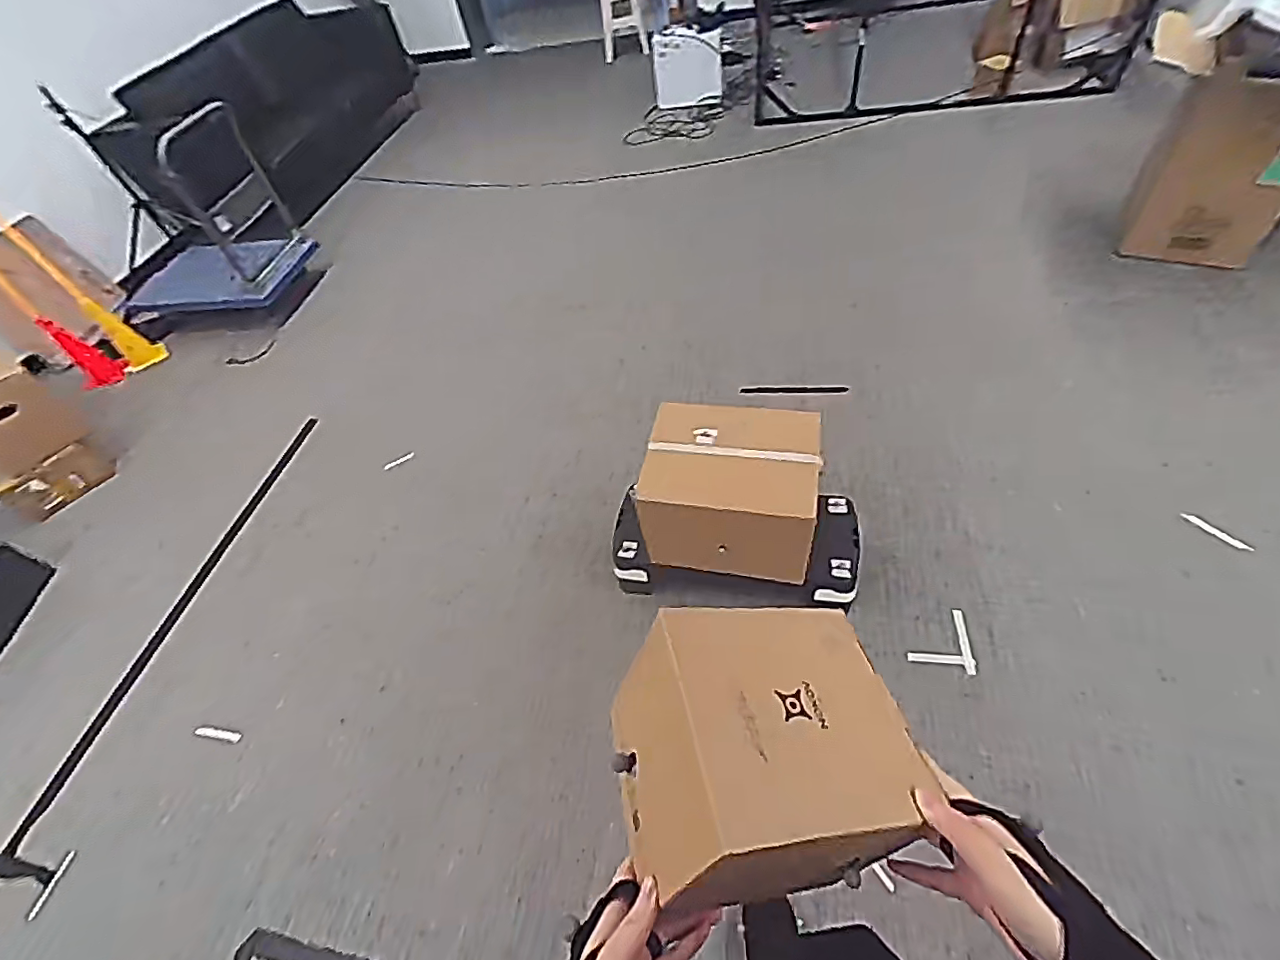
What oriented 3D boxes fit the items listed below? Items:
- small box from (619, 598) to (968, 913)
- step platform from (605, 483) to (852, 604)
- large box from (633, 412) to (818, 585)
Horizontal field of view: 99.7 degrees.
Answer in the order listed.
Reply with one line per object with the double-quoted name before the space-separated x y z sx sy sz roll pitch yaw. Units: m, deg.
"small box" 0.097 0.213 0.430 0.179 0.176 0.168 5 40 -19
"step platform" 0.246 0.201 1.560 0.684 0.204 0.286 7 54 17
"large box" 0.232 0.048 1.376 0.408 0.320 0.320 5 53 15
